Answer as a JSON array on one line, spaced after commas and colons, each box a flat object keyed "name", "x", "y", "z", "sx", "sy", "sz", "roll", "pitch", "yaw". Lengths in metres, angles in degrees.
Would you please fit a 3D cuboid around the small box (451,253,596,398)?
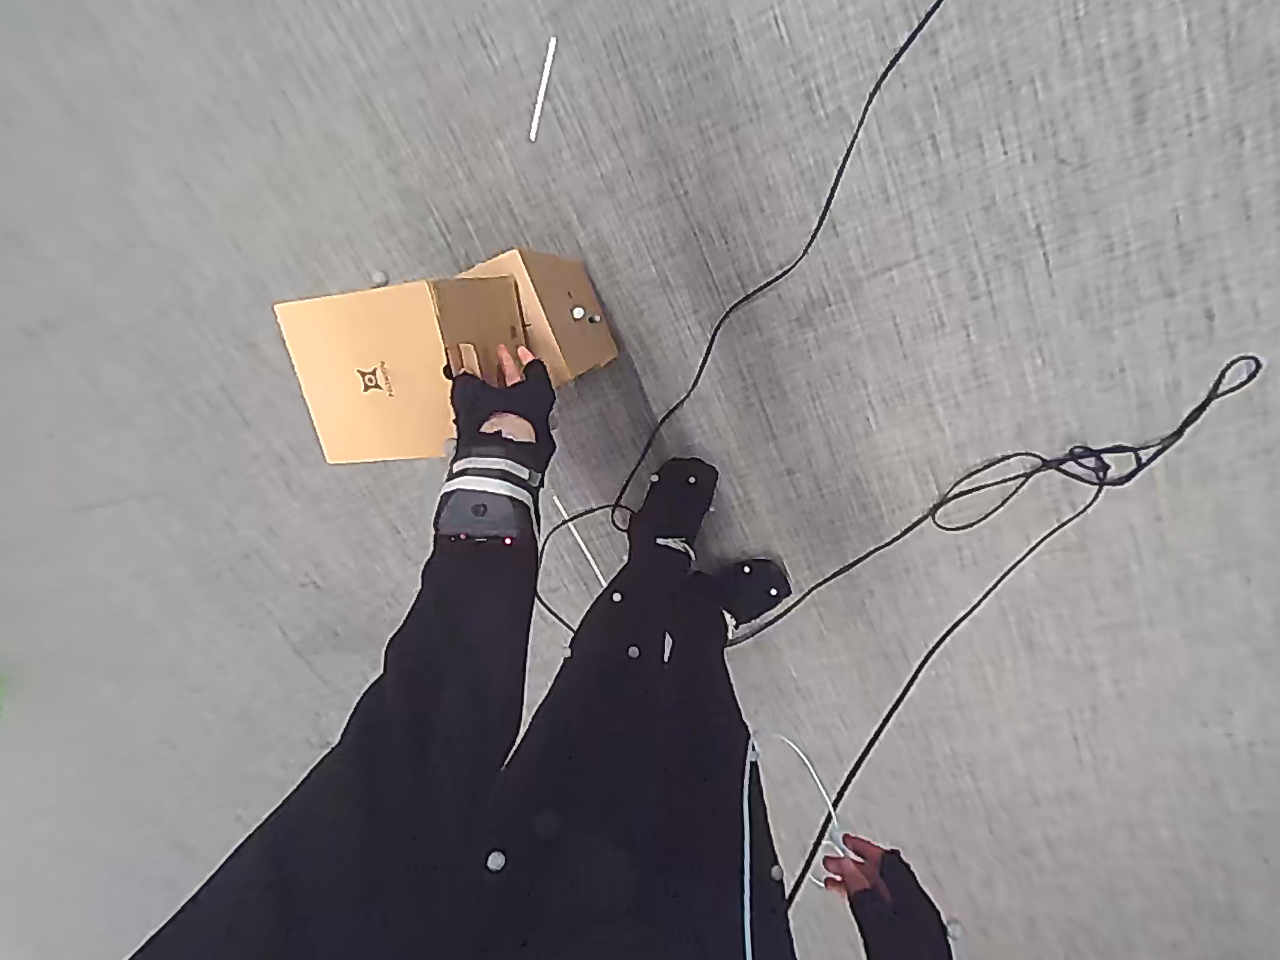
[{"name": "small box", "x": -0.180, "y": -0.194, "z": 0.744, "sx": 0.179, "sy": 0.176, "sz": 0.168, "roll": -18, "pitch": 107, "yaw": 14}]

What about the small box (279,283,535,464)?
[{"name": "small box", "x": -0.240, "y": -0.123, "z": 0.601, "sx": 0.179, "sy": 0.176, "sz": 0.168, "roll": -3, "pitch": 110, "yaw": 14}]

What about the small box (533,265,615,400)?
[{"name": "small box", "x": -0.155, "y": -0.246, "z": 0.899, "sx": 0.168, "sy": 0.176, "sz": 0.179, "roll": -19, "pitch": 107, "yaw": 14}]
